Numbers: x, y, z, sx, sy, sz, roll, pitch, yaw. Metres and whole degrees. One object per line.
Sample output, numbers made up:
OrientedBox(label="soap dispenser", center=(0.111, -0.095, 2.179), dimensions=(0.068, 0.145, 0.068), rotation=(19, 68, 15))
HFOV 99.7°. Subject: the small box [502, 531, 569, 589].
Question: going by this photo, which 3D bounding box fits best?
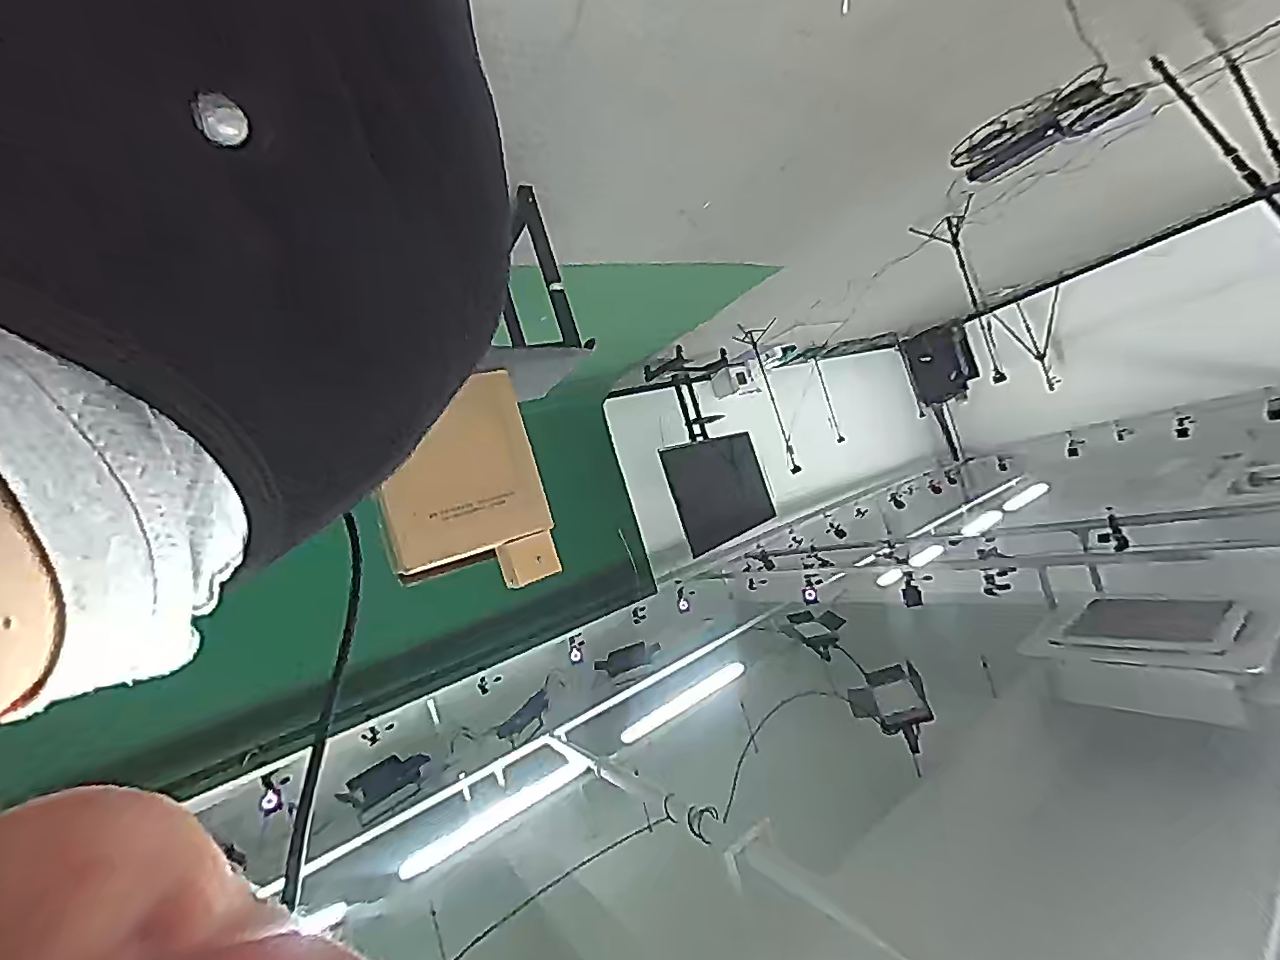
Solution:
OrientedBox(label="small box", center=(-0.401, 0.303, 2.060), dimensions=(0.179, 0.176, 0.168), rotation=(-20, 178, -31))
